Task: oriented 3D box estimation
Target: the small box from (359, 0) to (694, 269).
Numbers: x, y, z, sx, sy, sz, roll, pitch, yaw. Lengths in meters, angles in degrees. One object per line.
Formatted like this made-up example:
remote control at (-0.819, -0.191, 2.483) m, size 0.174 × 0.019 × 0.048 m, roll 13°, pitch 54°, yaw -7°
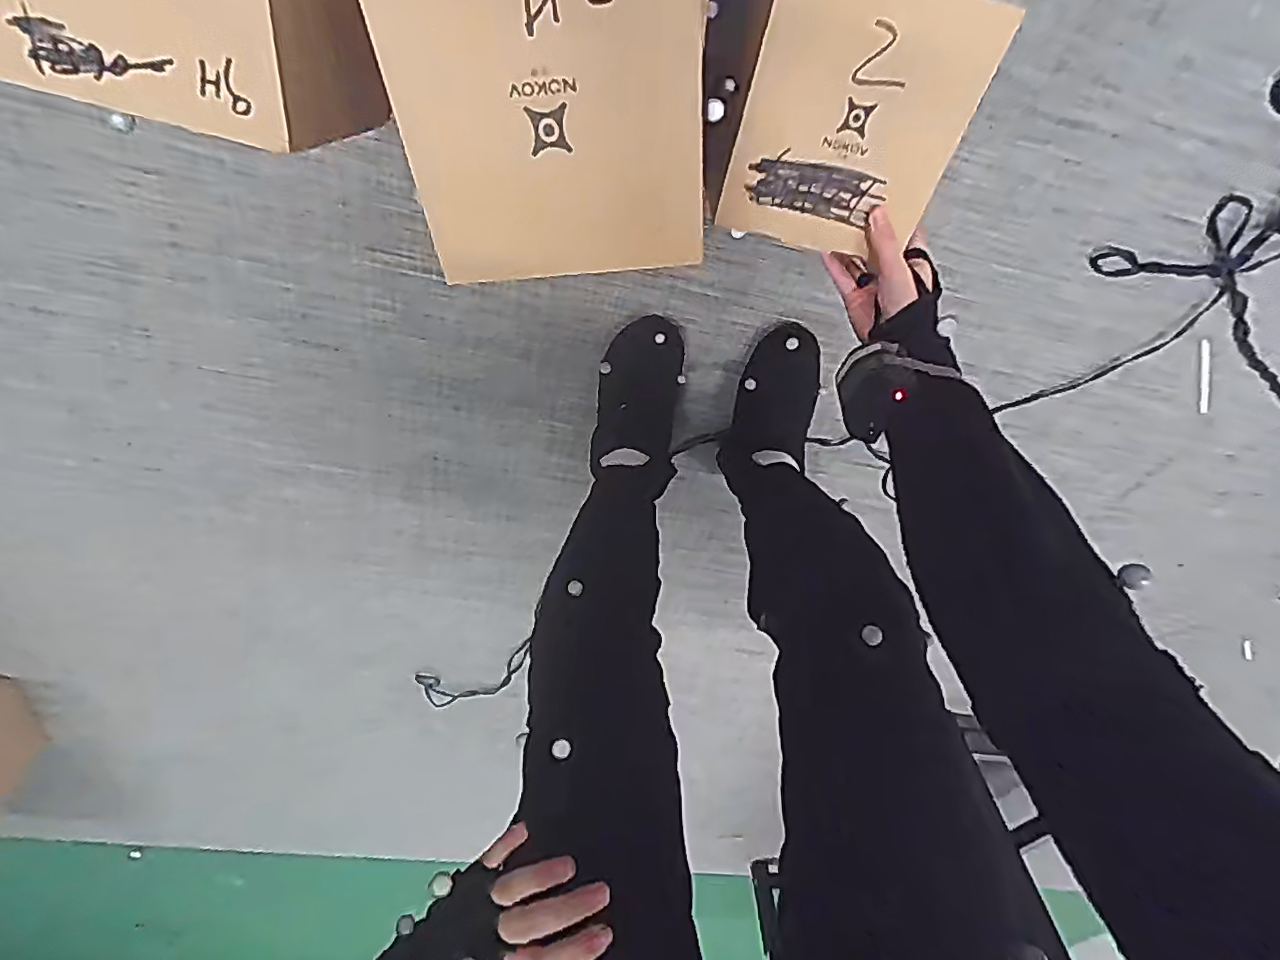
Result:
small box at (-0.052, -0.255, 0.349) m, size 0.168 × 0.176 × 0.179 m, roll -3°, pitch 128°, yaw 2°
